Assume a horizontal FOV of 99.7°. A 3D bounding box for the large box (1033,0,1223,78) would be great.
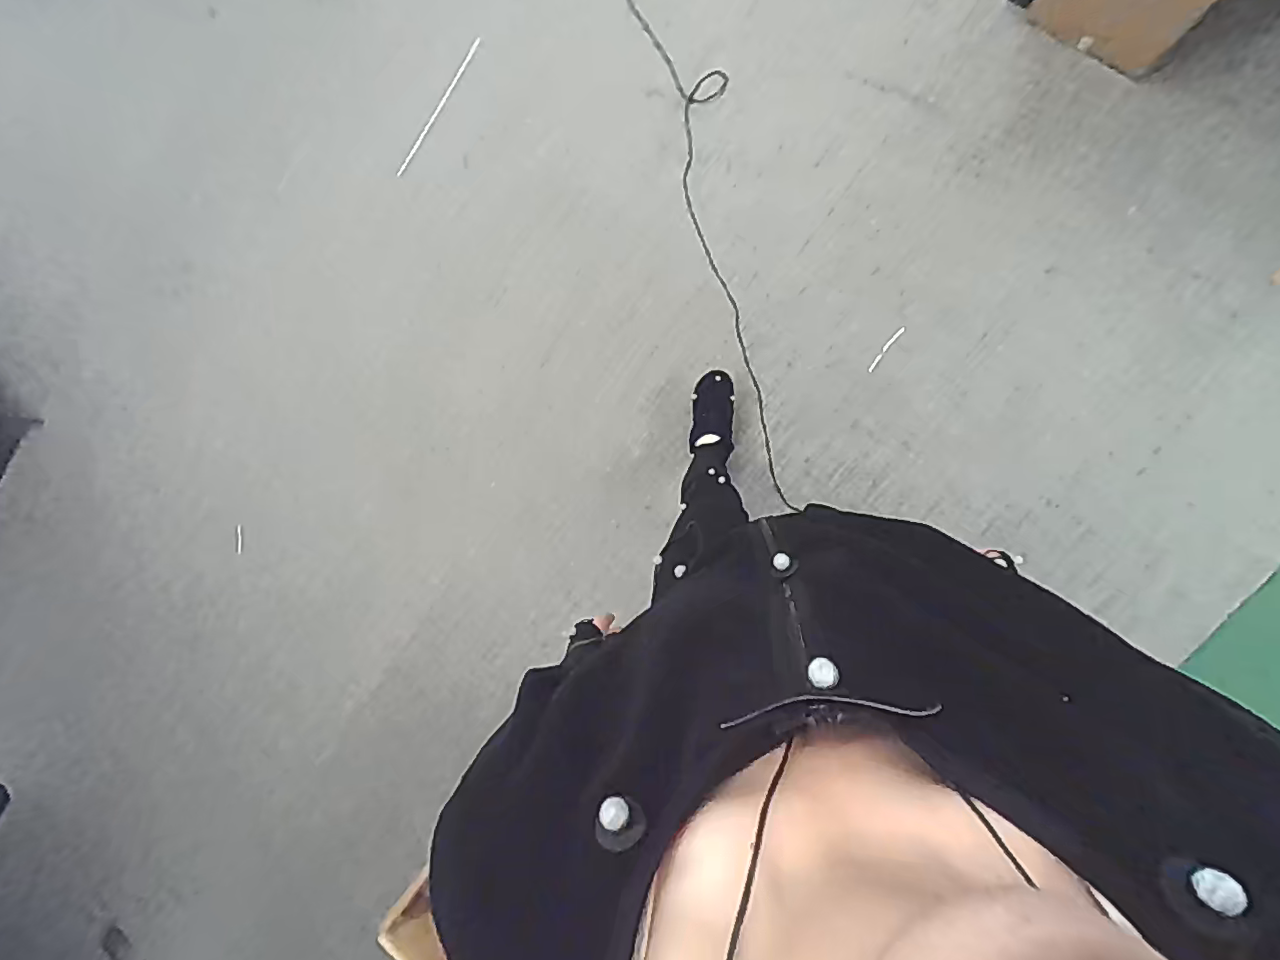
[{"bbox_3d":[1.157,-1.190,1.127,0.320,0.320,0.408,38,99,10],"label":"large box"}]
